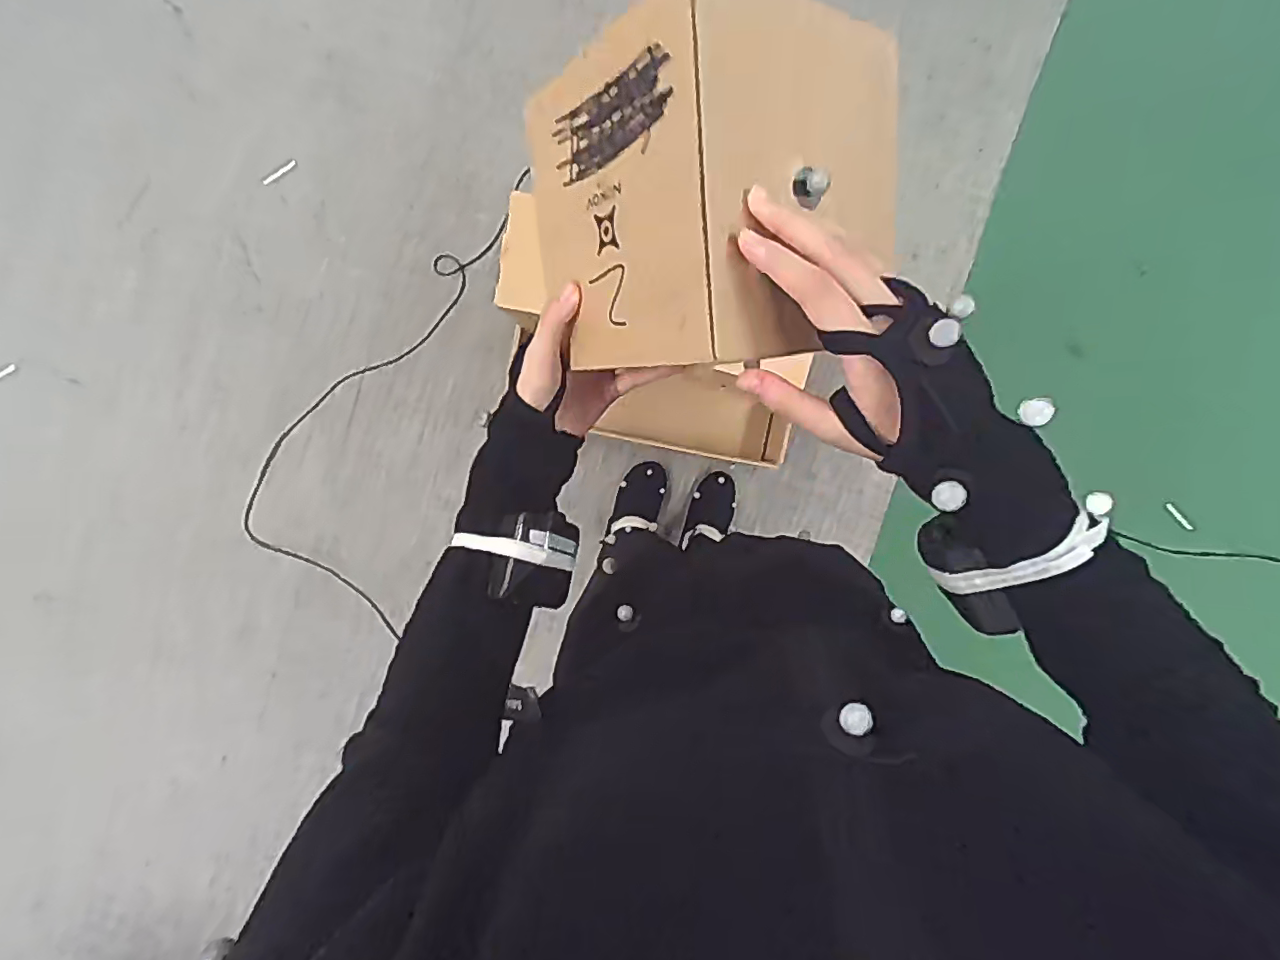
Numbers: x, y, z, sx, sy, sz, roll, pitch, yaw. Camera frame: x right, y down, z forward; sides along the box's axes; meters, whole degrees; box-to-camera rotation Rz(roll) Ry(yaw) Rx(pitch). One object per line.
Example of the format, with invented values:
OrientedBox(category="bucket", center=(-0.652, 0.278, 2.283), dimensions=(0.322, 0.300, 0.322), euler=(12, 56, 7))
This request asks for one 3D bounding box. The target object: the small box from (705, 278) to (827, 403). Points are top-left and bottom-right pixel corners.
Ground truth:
OrientedBox(category="small box", center=(0.228, -0.253, 1.029), dimensions=(0.168, 0.176, 0.179), euler=(16, 93, -2))

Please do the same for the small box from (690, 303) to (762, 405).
OrientedBox(category="small box", center=(0.215, -0.269, 1.193), dimensions=(0.179, 0.176, 0.168), euler=(16, 93, 0))

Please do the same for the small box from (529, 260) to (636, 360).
OrientedBox(category="small box", center=(-0.112, -0.335, 1.027), dimensions=(0.179, 0.176, 0.168), euler=(16, 95, -2))

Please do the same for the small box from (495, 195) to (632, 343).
OrientedBox(category="small box", center=(-0.112, -0.323, 0.866), dimensions=(0.179, 0.176, 0.168), euler=(11, 95, 0))
